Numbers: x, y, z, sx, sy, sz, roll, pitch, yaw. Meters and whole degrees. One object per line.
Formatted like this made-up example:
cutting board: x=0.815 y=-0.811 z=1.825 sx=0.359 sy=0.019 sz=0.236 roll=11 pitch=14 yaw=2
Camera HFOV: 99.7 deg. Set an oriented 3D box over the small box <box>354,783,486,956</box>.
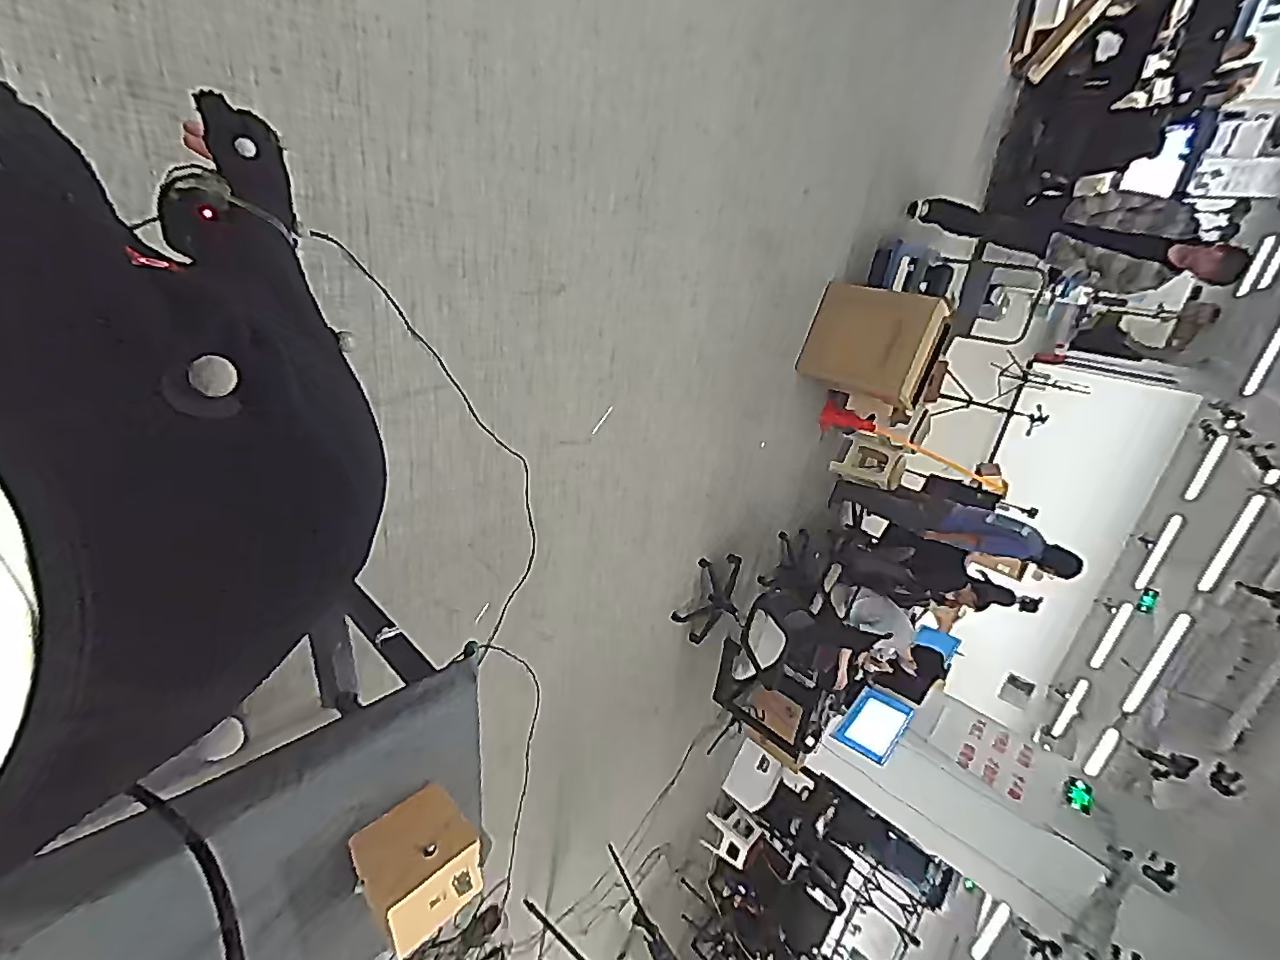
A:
small box: x=-0.421 y=0.738 z=1.047 sx=0.179 sy=0.176 sz=0.168 roll=-21 pitch=126 yaw=-42
